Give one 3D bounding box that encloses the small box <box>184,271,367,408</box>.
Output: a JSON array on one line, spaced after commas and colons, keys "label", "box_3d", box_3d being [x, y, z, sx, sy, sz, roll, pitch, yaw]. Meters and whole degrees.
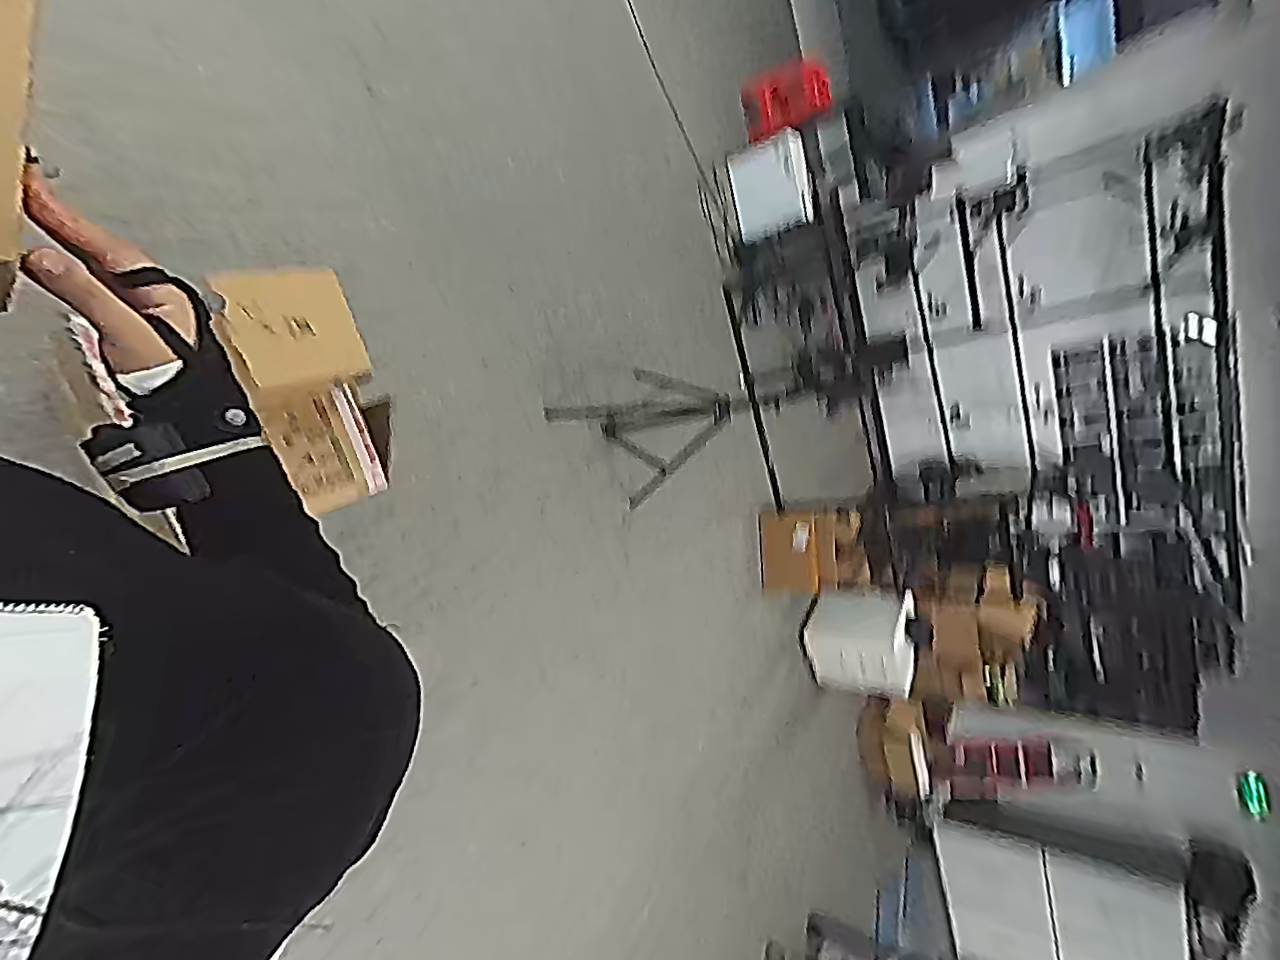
[{"label": "small box", "box_3d": [-0.586, -0.225, 0.872, 0.179, 0.176, 0.168, -28, 105, -47]}]
